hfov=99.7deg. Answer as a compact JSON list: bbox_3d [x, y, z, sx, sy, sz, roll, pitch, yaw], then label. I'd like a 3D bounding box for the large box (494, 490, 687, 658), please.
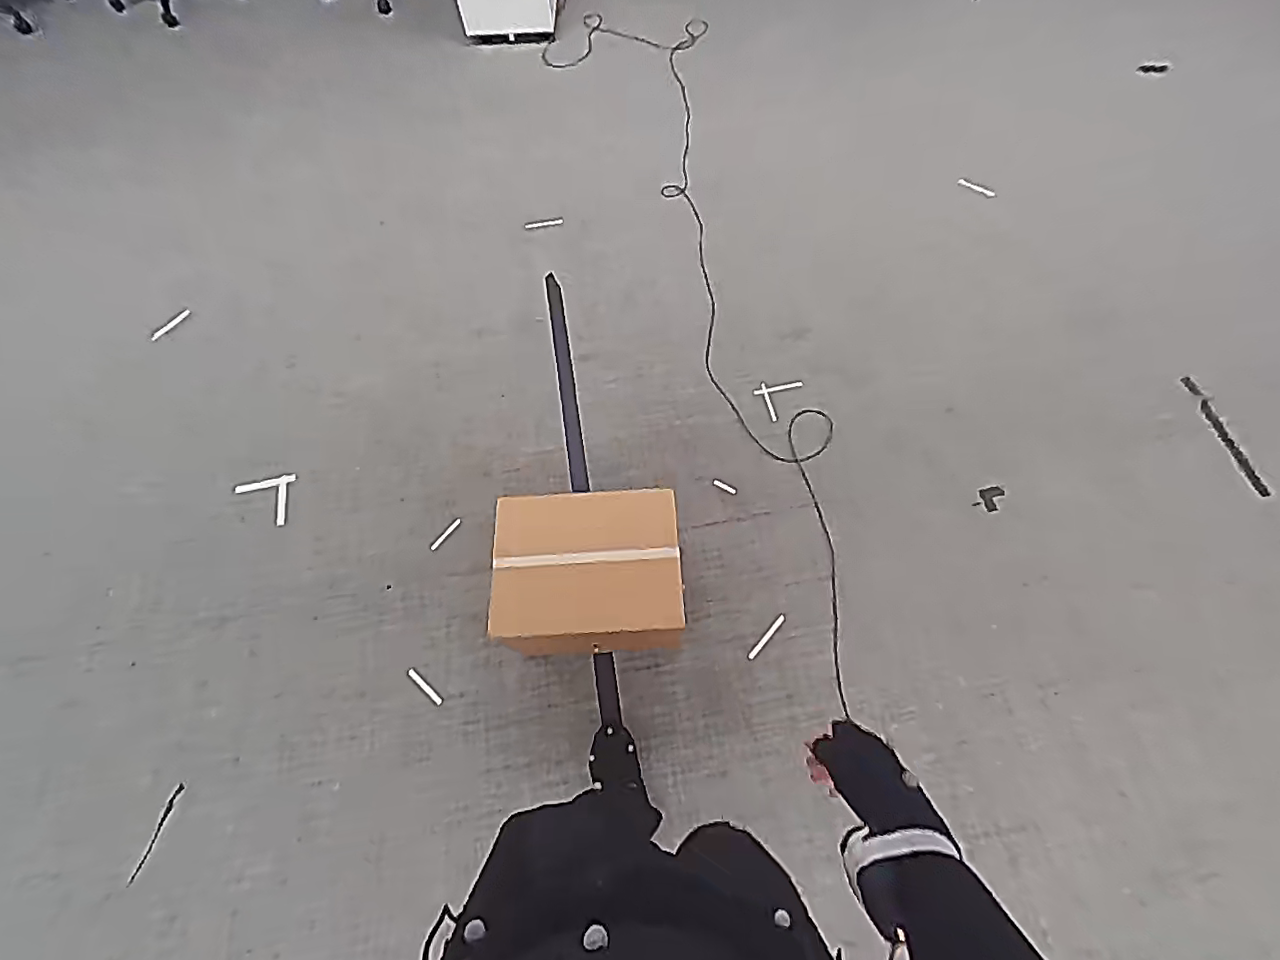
[{"bbox_3d":[-0.107,0.237,1.294,0.408,0.320,0.320,-3,66,0],"label":"large box"}]
